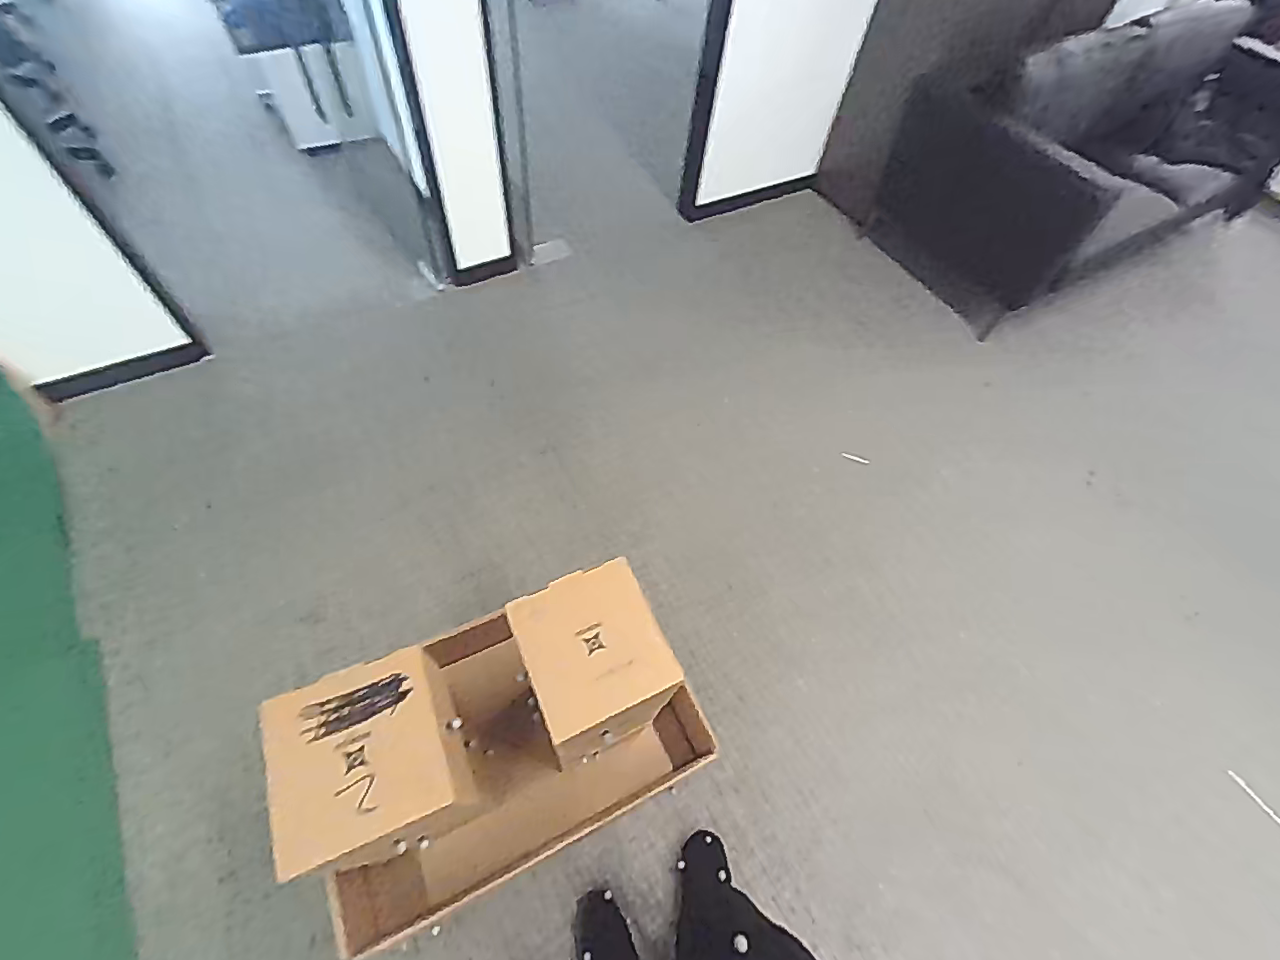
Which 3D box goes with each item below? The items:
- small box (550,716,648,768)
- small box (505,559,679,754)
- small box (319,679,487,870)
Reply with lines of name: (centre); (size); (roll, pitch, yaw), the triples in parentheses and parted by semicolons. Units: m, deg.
small box: (-0.098, 0.408, 0.995); (0.168, 0.176, 0.179); (-20, 62, -17)
small box: (-0.069, 0.237, 0.718); (0.168, 0.176, 0.179); (-20, 63, -17)
small box: (-0.328, 0.413, 0.771); (0.168, 0.176, 0.179); (-18, 62, -18)
